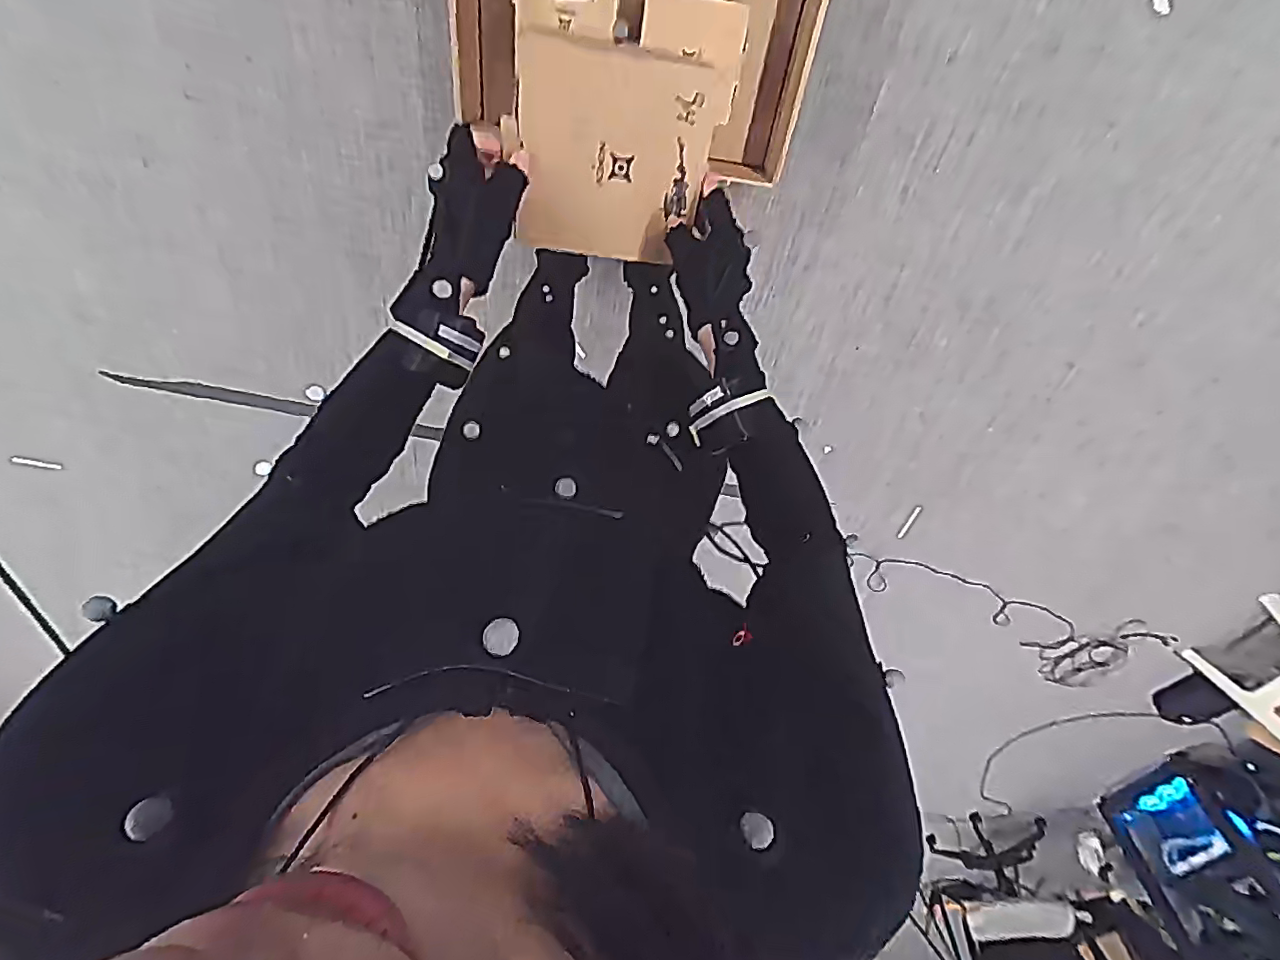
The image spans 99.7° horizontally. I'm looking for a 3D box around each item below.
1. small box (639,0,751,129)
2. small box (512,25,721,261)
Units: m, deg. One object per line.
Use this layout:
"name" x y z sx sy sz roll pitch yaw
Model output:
"small box" 0.087 -0.751 0.975 0.179 0.176 0.168 10 126 -2
"small box" -0.032 -0.348 0.560 0.179 0.176 0.168 5 130 -8
